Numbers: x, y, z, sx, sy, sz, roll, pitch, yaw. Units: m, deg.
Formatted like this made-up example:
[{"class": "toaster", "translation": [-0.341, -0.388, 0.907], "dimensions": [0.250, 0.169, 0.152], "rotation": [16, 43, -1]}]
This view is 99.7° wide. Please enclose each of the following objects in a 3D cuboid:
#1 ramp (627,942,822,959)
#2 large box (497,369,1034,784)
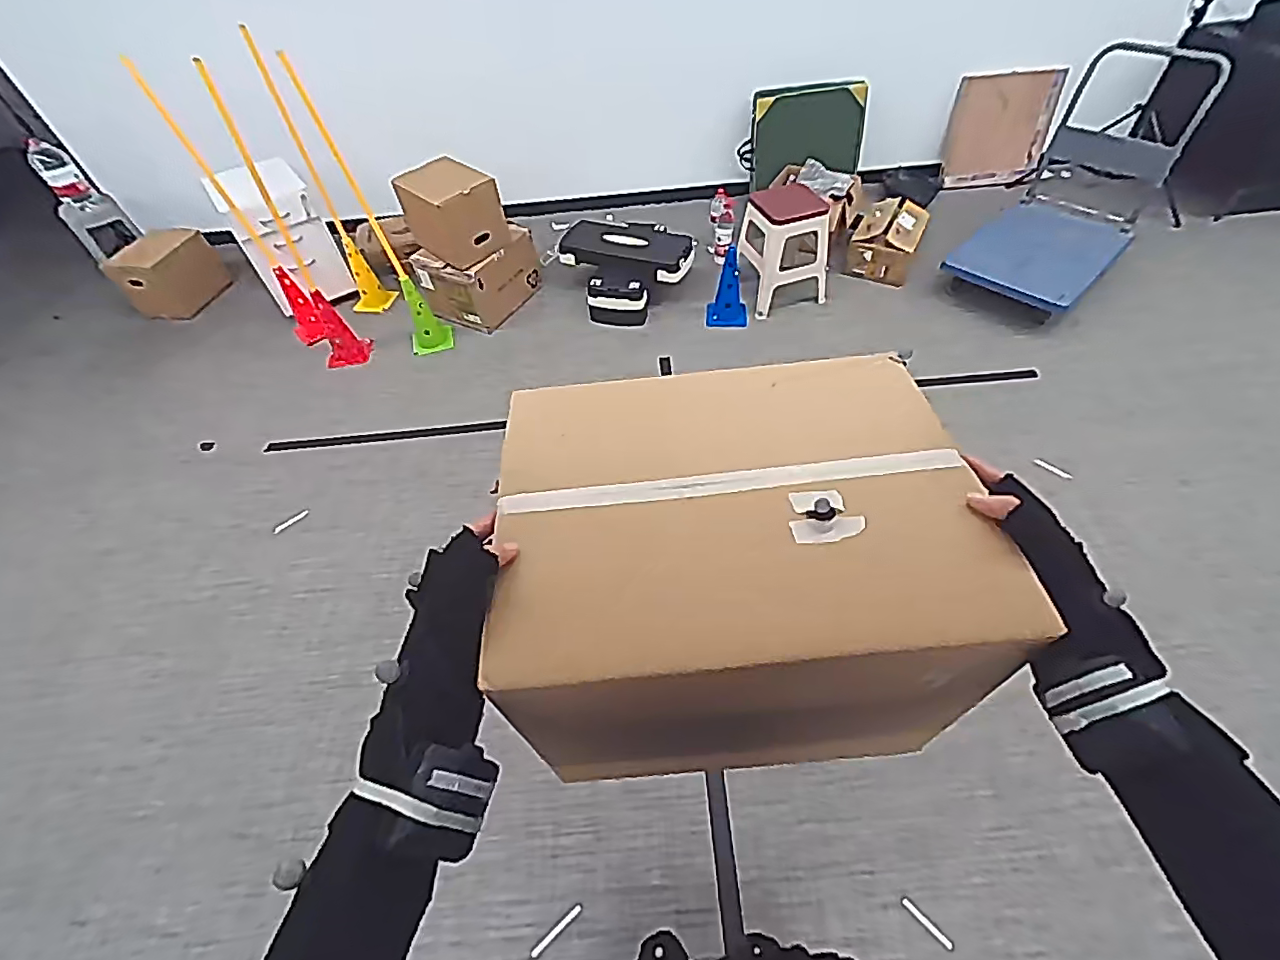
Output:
[{"class": "ramp", "translation": [0.170, 1.407, 0.870], "dimensions": [0.509, 0.206, 0.991], "rotation": [-7, 51, -1]}, {"class": "large box", "translation": [0.089, 0.113, 0.599], "dimensions": [0.408, 0.320, 0.320], "rotation": [-6, 50, 1]}]
